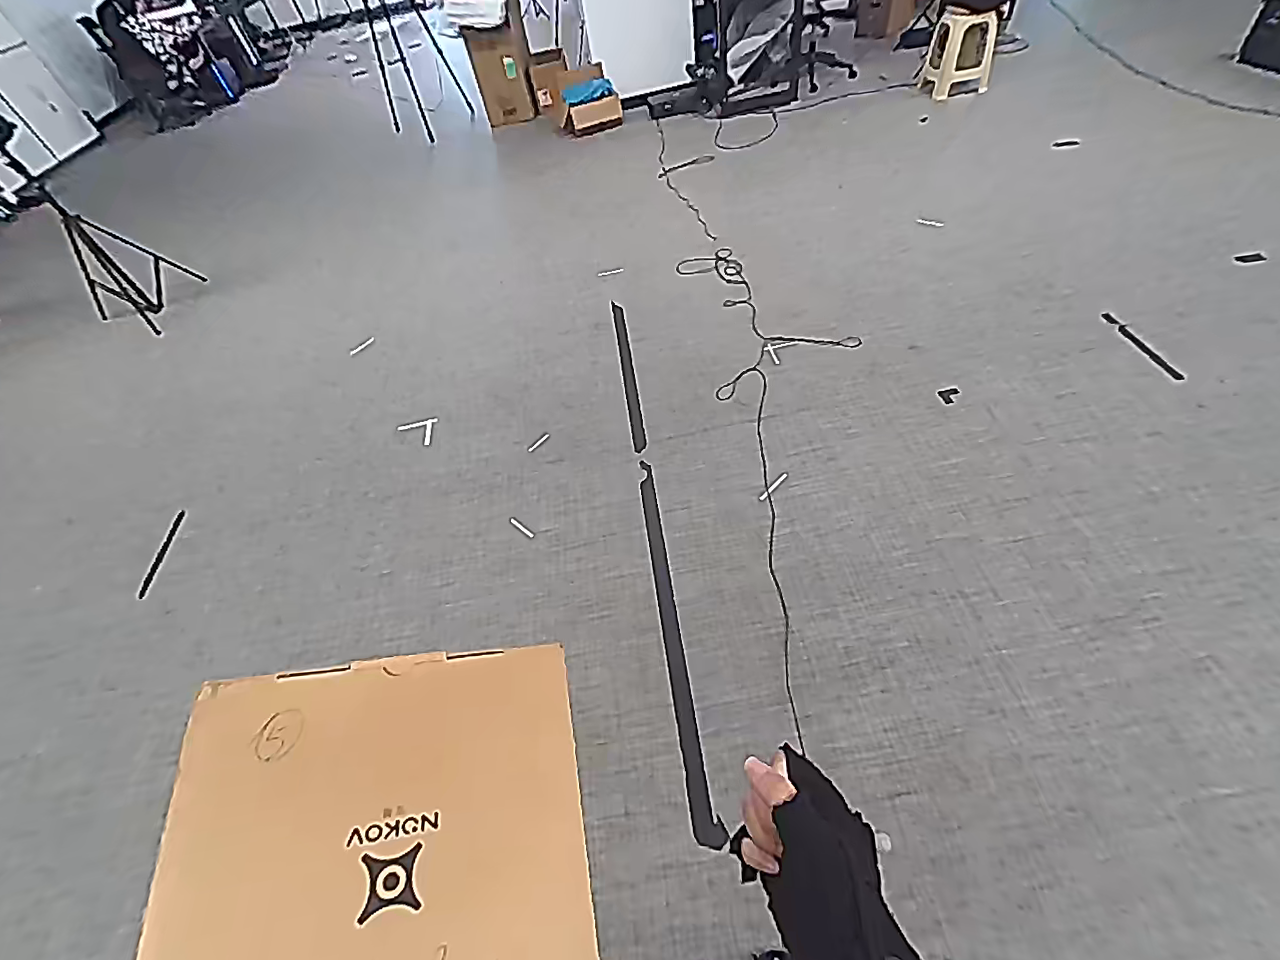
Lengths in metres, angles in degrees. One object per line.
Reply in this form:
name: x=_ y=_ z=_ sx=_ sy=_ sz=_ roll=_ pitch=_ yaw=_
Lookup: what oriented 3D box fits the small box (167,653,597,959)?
small box: x=-0.127 y=0.214 z=0.301 sx=0.168 sy=0.176 sz=0.179 roll=0 pitch=57 yaw=-19
